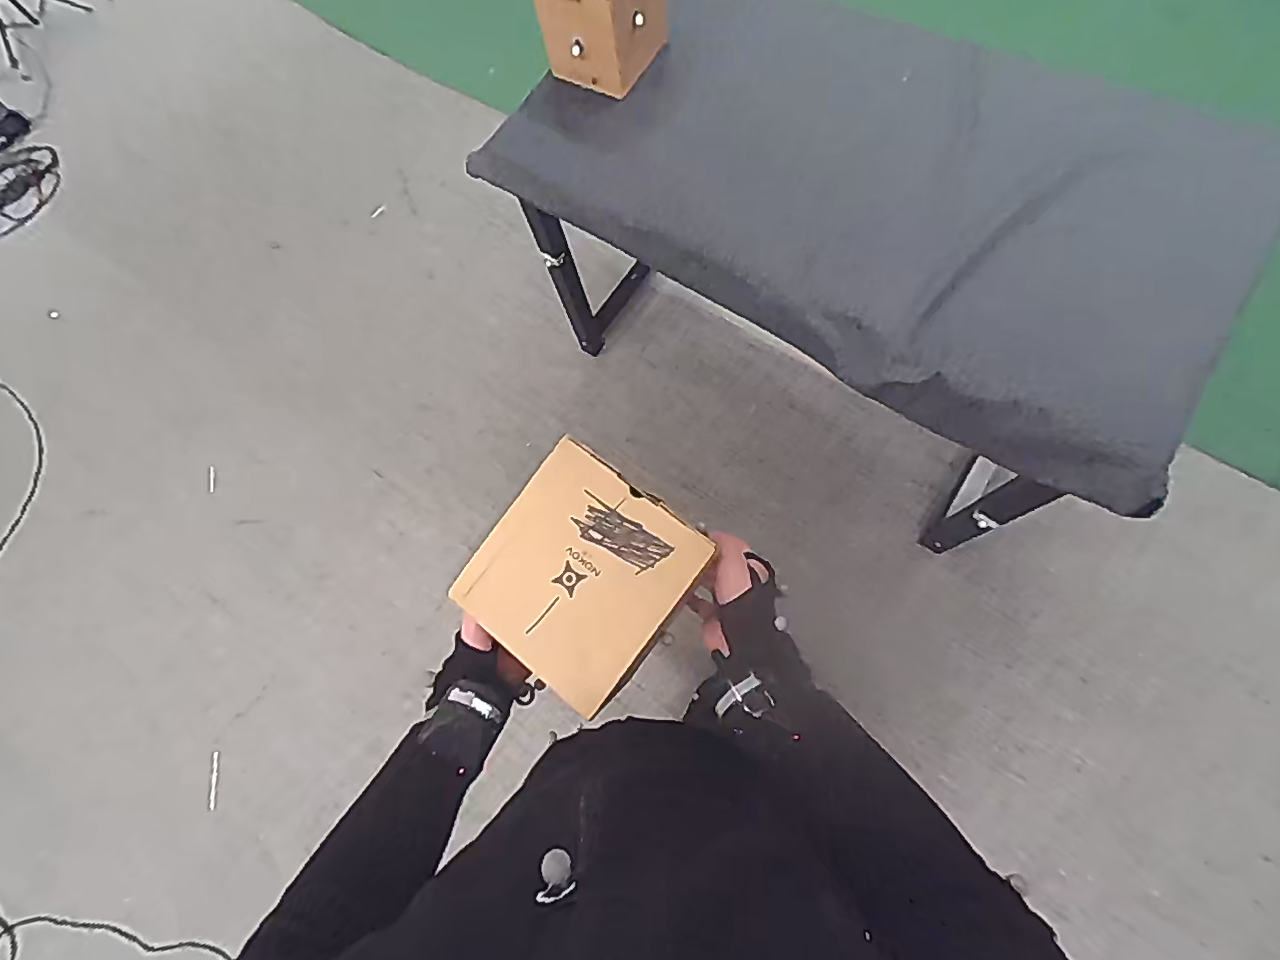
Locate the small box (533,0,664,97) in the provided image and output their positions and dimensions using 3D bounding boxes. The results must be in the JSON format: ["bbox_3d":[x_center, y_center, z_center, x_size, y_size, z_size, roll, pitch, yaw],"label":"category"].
[{"bbox_3d":[-0.066,-0.852,0.987,0.168,0.176,0.179,28,78,15],"label":"small box"}]
